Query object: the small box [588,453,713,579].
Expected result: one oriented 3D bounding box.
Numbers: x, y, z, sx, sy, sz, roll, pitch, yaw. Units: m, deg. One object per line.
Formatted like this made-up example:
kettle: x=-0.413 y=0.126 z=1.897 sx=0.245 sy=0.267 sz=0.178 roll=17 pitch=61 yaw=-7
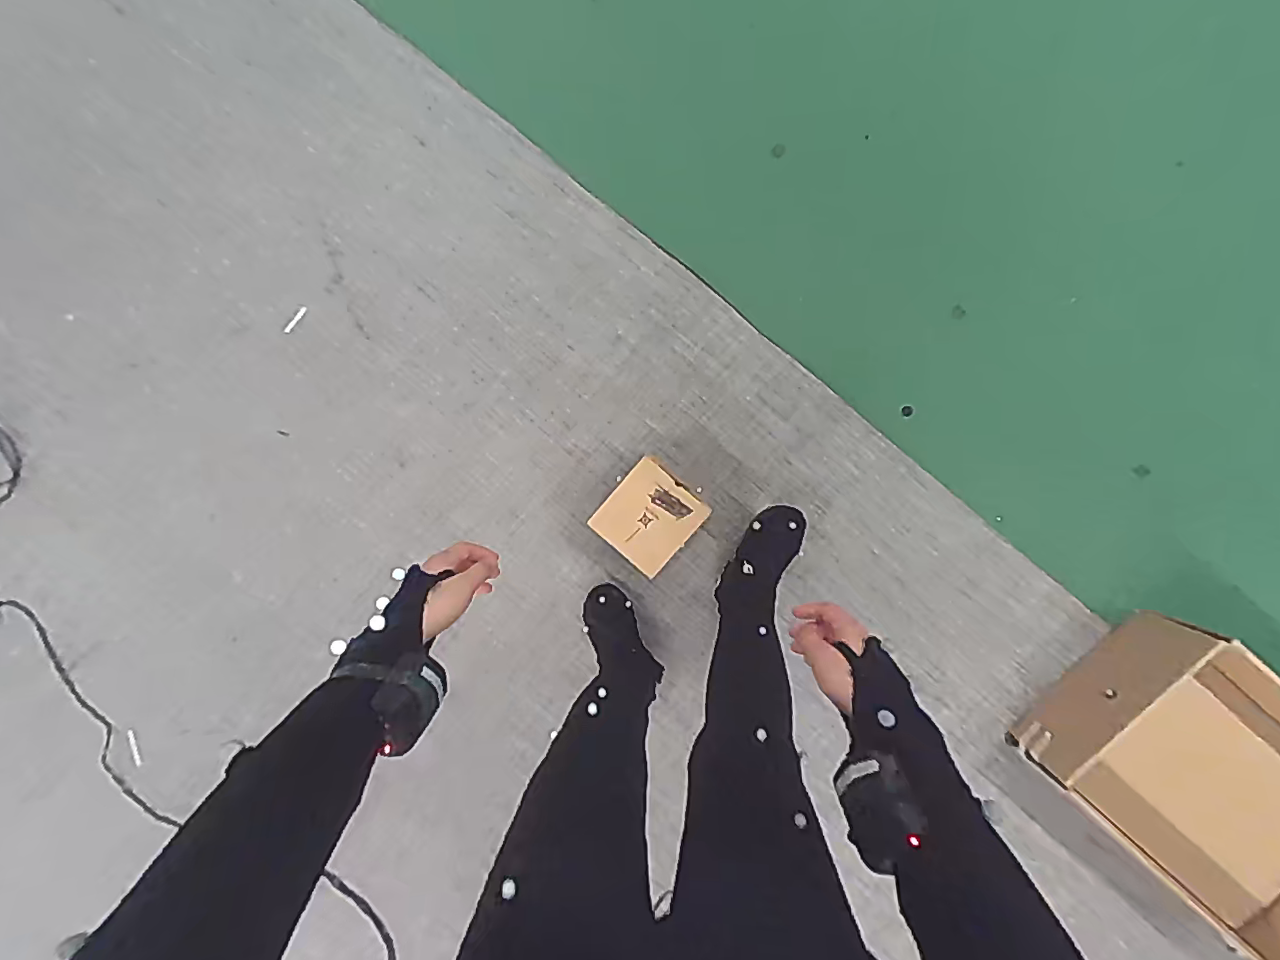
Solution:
small box: x=0.022 y=0.060 z=1.071 sx=0.168 sy=0.176 sz=0.179 roll=41 pitch=97 yaw=-1
